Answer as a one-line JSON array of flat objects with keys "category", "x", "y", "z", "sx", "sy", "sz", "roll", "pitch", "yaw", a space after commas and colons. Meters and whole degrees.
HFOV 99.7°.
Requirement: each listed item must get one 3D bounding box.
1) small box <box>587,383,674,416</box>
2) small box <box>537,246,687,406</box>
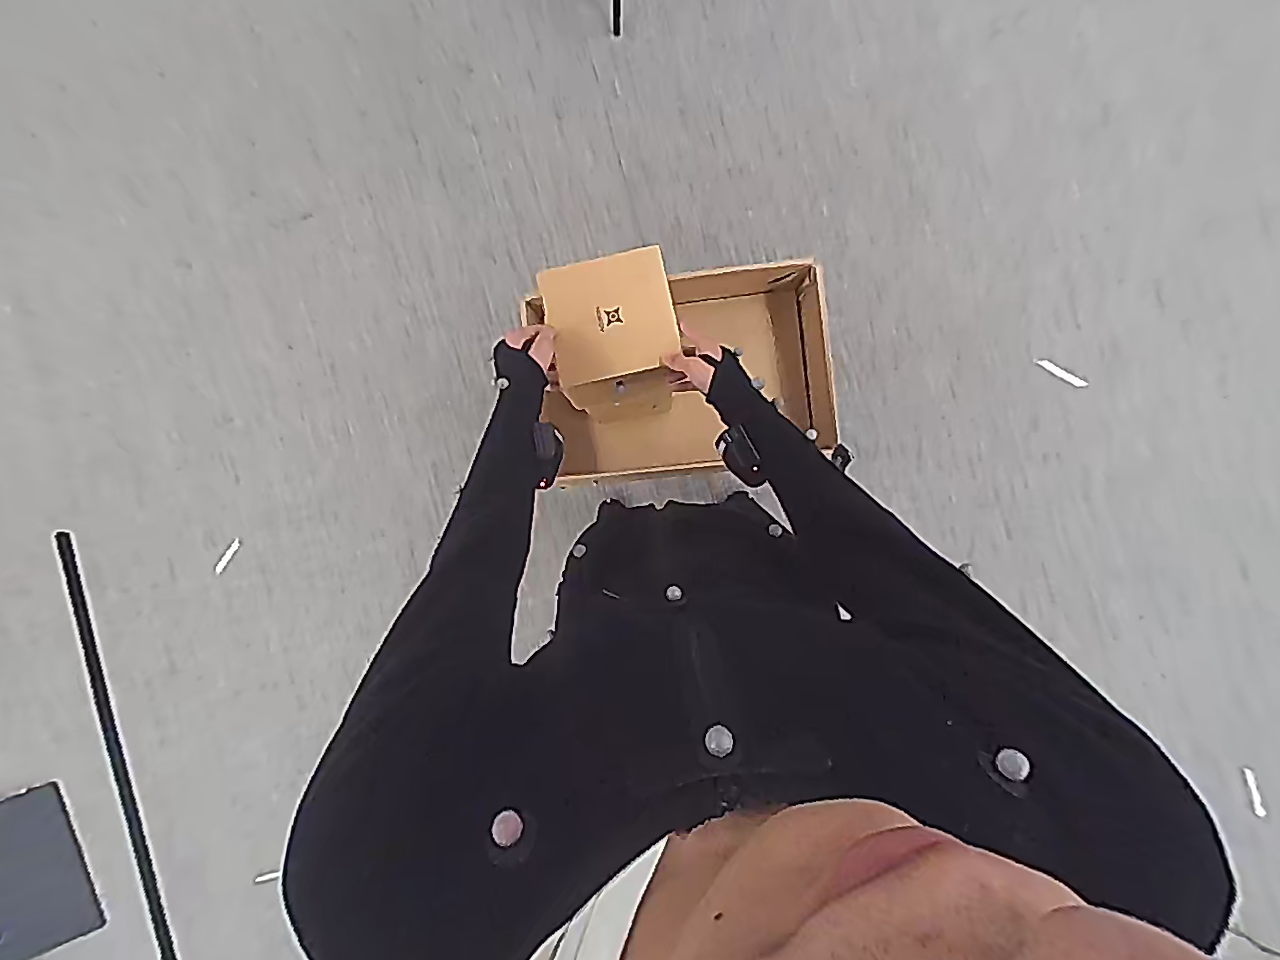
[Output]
[{"category": "small box", "x": -0.033, "y": -0.225, "z": 0.988, "sx": 0.168, "sy": 0.176, "sz": 0.179, "roll": -9, "pitch": 88, "yaw": 2}, {"category": "small box", "x": -0.036, "y": -0.216, "z": 0.804, "sx": 0.179, "sy": 0.176, "sz": 0.168, "roll": -14, "pitch": 88, "yaw": 2}]
